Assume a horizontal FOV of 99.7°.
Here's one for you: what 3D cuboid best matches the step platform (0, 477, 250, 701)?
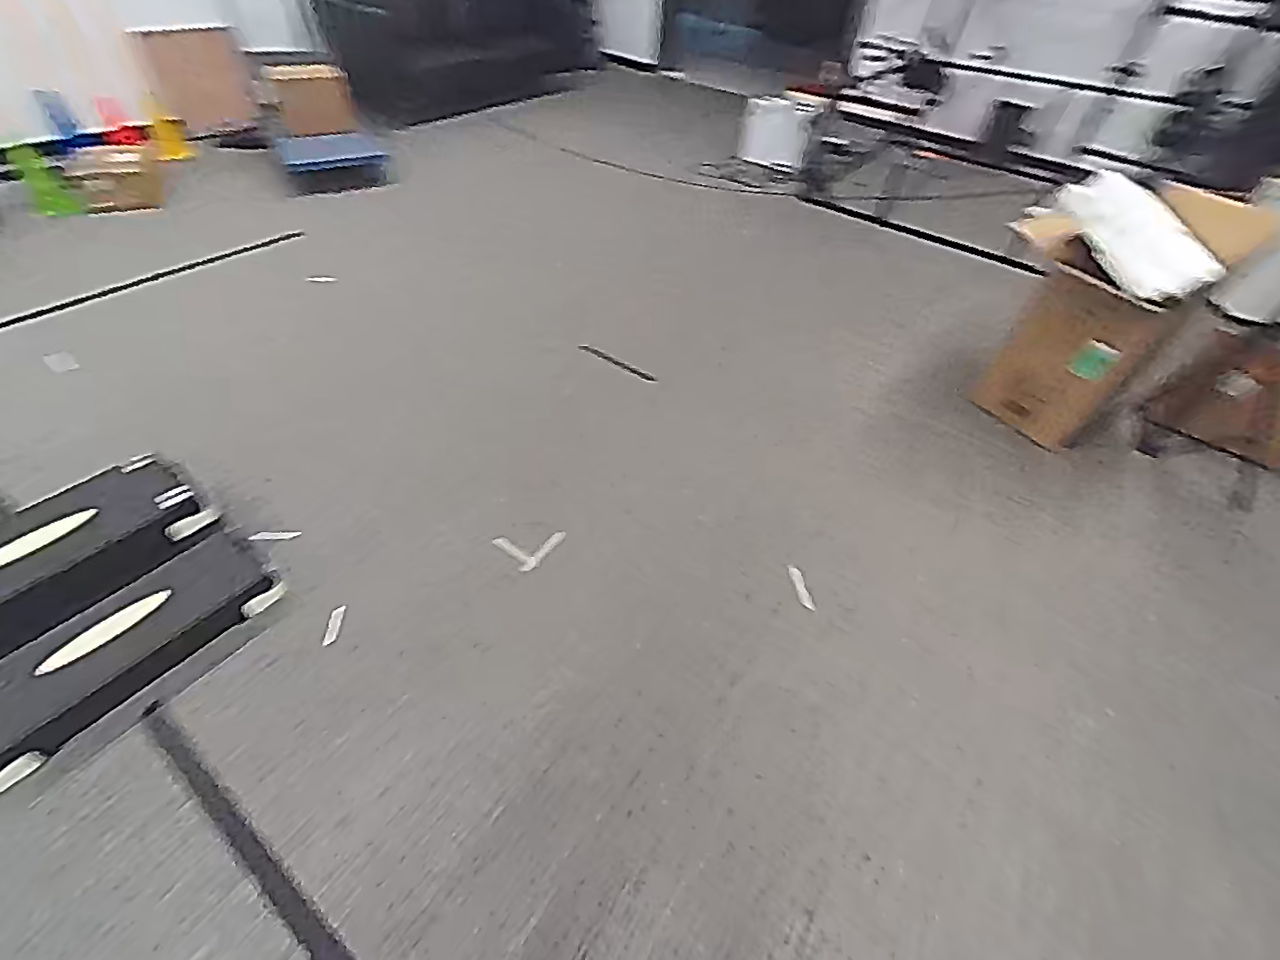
[{"bbox_3d":[-1.460,0.269,1.414,0.286,0.204,0.684,34,51,25],"label":"step platform"}]
